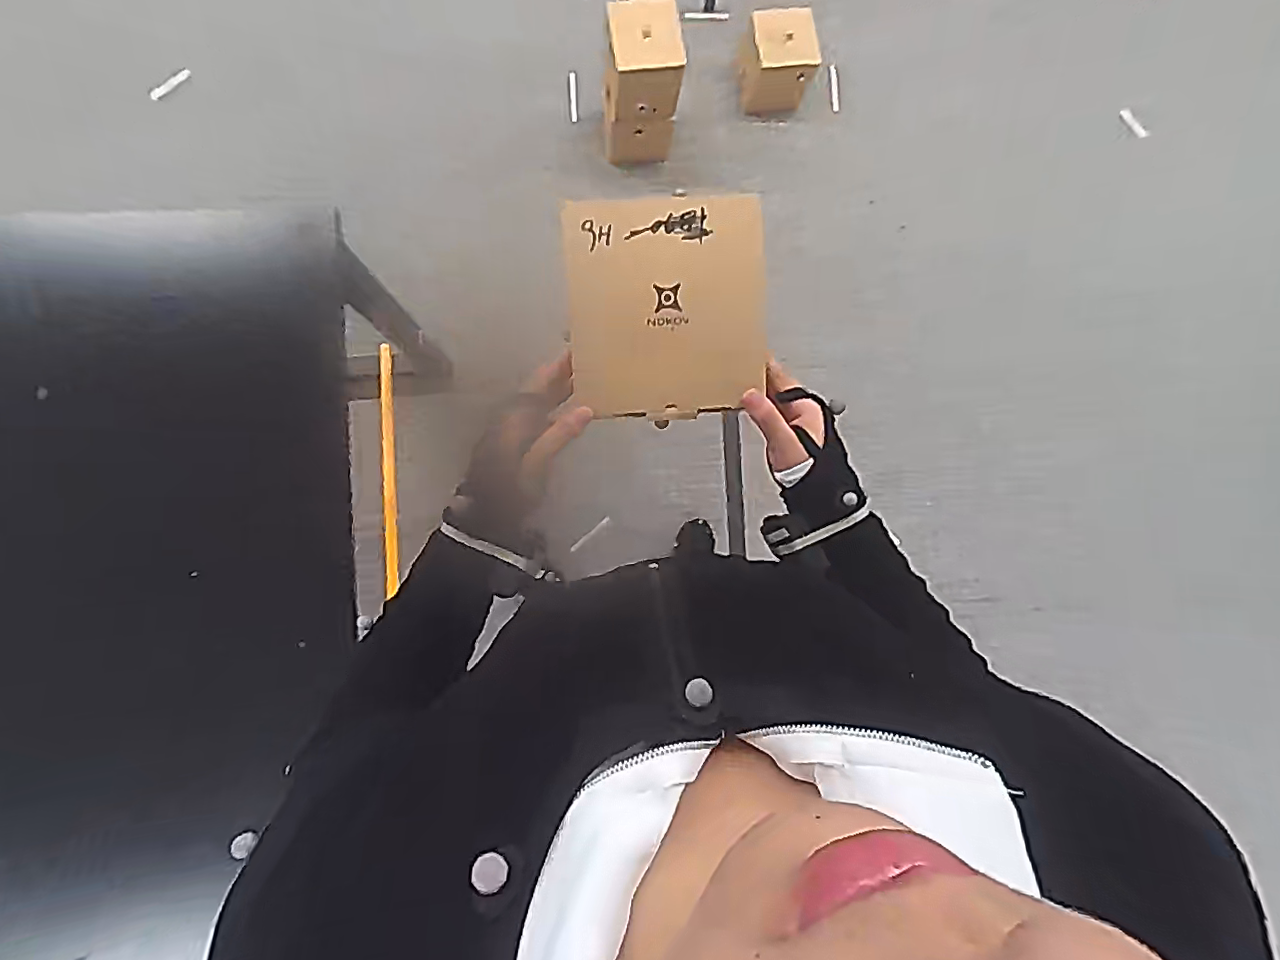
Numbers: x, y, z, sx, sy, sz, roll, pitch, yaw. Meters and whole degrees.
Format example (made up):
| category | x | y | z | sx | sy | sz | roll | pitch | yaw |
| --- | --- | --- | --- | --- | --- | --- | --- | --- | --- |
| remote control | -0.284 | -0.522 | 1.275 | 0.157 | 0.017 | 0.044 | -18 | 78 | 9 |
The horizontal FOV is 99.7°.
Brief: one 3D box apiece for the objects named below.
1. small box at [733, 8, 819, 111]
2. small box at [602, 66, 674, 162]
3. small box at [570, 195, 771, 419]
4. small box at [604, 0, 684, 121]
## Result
| category | x | y | z | sx | sy | sz | roll | pitch | yaw |
| --- | --- | --- | --- | --- | --- | --- | --- | --- | --- |
| small box | 0.386 | -1.203 | 1.557 | 0.179 | 0.176 | 0.168 | -10 | 87 | -6 |
| small box | -0.011 | -1.016 | 1.504 | 0.179 | 0.176 | 0.168 | -7 | 87 | -6 |
| small box | 0.025 | -0.157 | 0.531 | 0.168 | 0.176 | 0.179 | -4 | 100 | -2 |
| small box | 0.004 | -1.038 | 1.343 | 0.168 | 0.176 | 0.179 | -10 | 88 | -5 |
